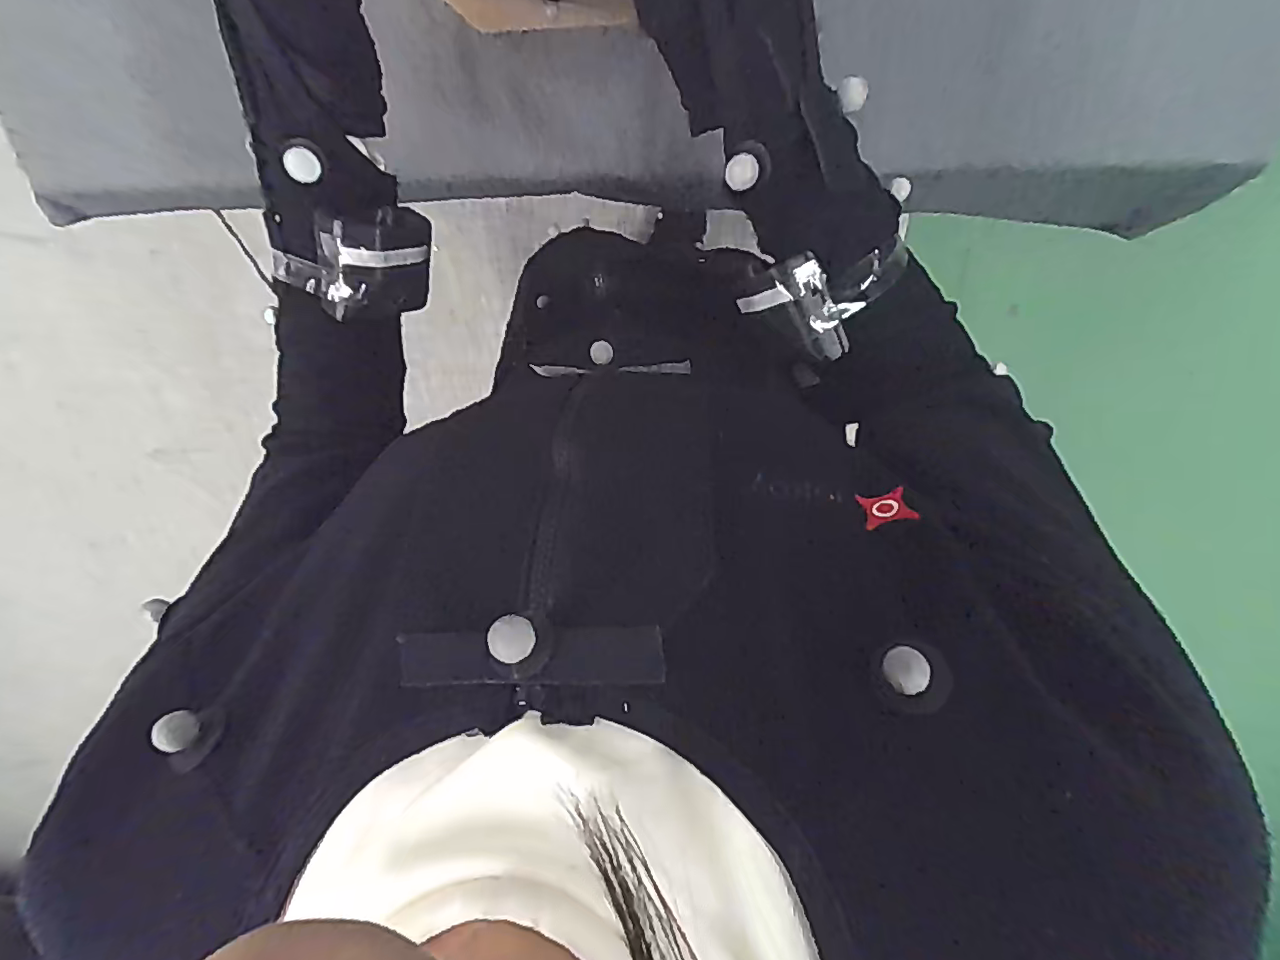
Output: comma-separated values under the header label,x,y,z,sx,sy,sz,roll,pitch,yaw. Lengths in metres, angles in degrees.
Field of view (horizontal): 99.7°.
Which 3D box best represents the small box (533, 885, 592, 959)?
label,x,y,z,sx,sy,sz,roll,pitch,yaw
small box,-0.273,1.604,1.961,0.179,0.176,0.168,-3,117,5
